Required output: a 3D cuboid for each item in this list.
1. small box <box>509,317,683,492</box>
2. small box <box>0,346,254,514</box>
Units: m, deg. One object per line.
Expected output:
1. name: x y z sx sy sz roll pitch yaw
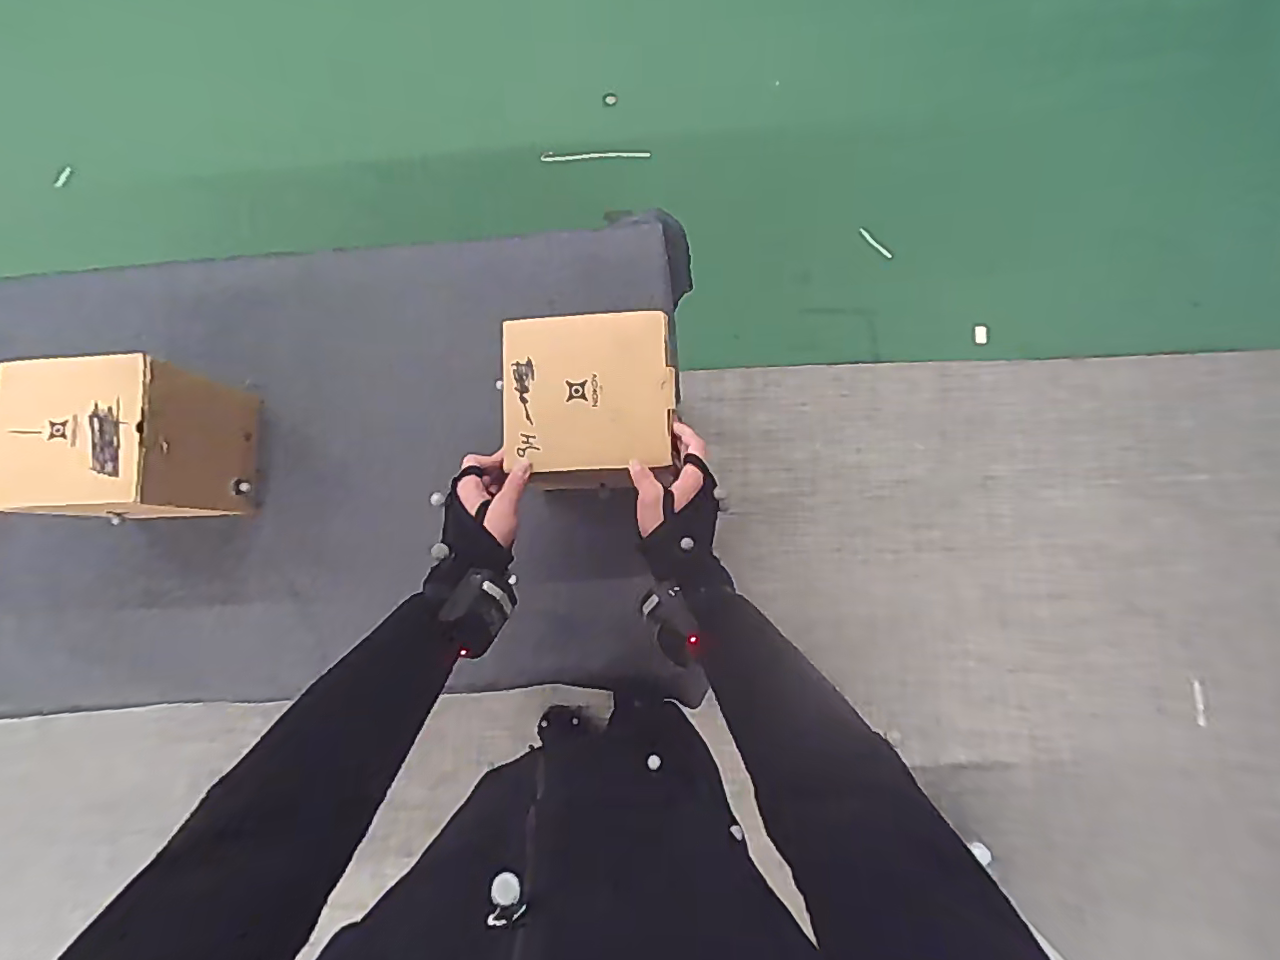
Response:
1. small box: -0.044 -0.078 0.631 0.179 0.176 0.168 -1 82 1
2. small box: -0.603 -0.049 0.641 0.179 0.176 0.168 -1 81 2
